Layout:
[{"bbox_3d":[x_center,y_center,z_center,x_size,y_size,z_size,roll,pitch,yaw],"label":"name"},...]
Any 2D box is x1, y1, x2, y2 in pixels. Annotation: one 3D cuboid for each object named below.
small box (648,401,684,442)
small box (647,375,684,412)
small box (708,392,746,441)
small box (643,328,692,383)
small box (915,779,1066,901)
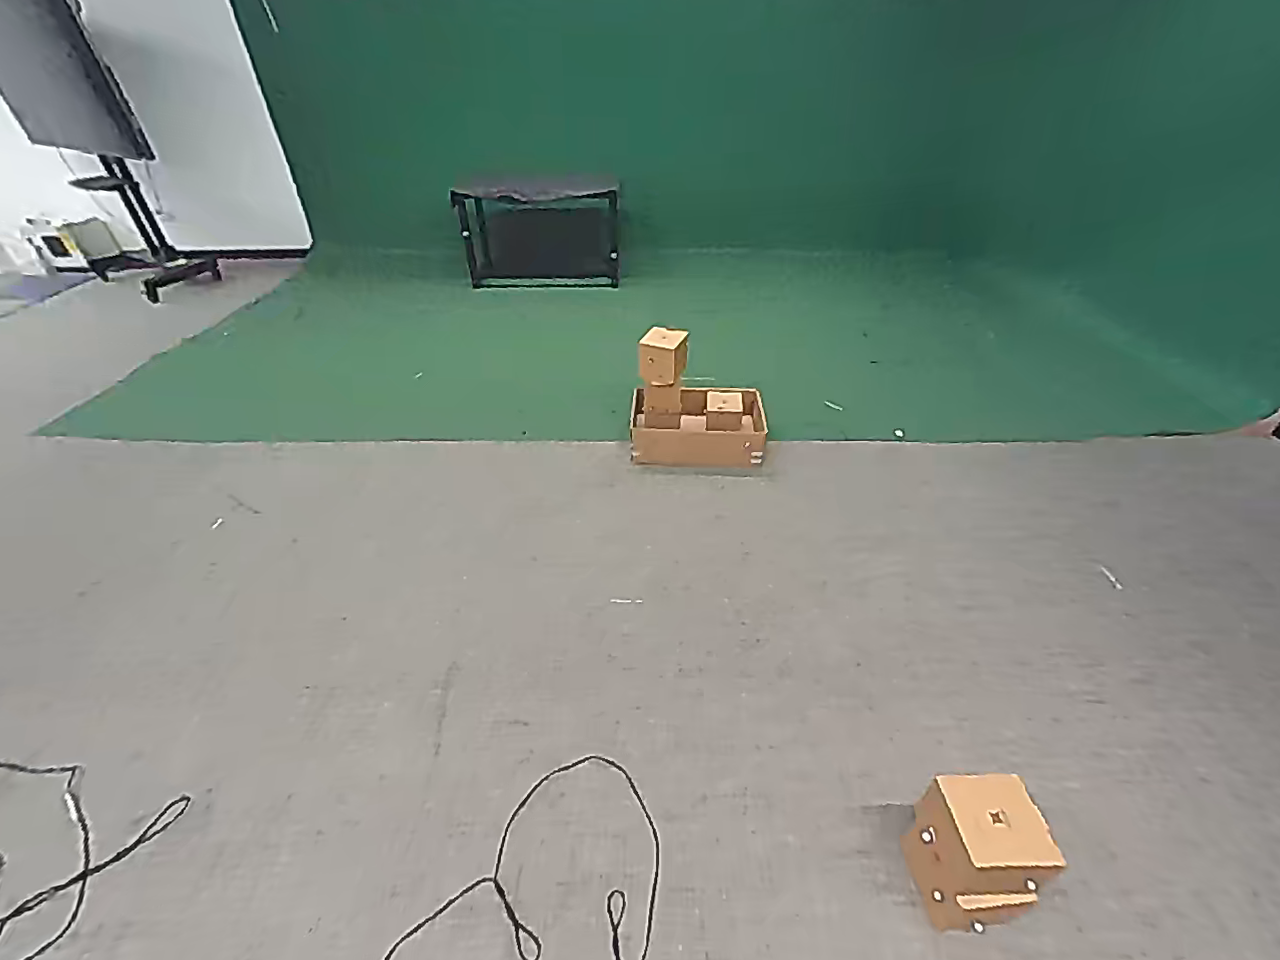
[{"bbox_3d":[0.123,-0.302,2.588,0.168,0.176,0.179,0,39,0],"label":"small box"},{"bbox_3d":[0.117,-0.423,2.477,0.168,0.176,0.179,2,38,1],"label":"small box"},{"bbox_3d":[0.415,-0.305,2.596,0.168,0.176,0.179,4,39,5],"label":"small box"},{"bbox_3d":[0.121,-0.545,2.369,0.168,0.176,0.179,16,40,18],"label":"small box"},{"bbox_3d":[0.700,0.736,1.106,0.179,0.176,0.168,-1,37,0],"label":"small box"}]
